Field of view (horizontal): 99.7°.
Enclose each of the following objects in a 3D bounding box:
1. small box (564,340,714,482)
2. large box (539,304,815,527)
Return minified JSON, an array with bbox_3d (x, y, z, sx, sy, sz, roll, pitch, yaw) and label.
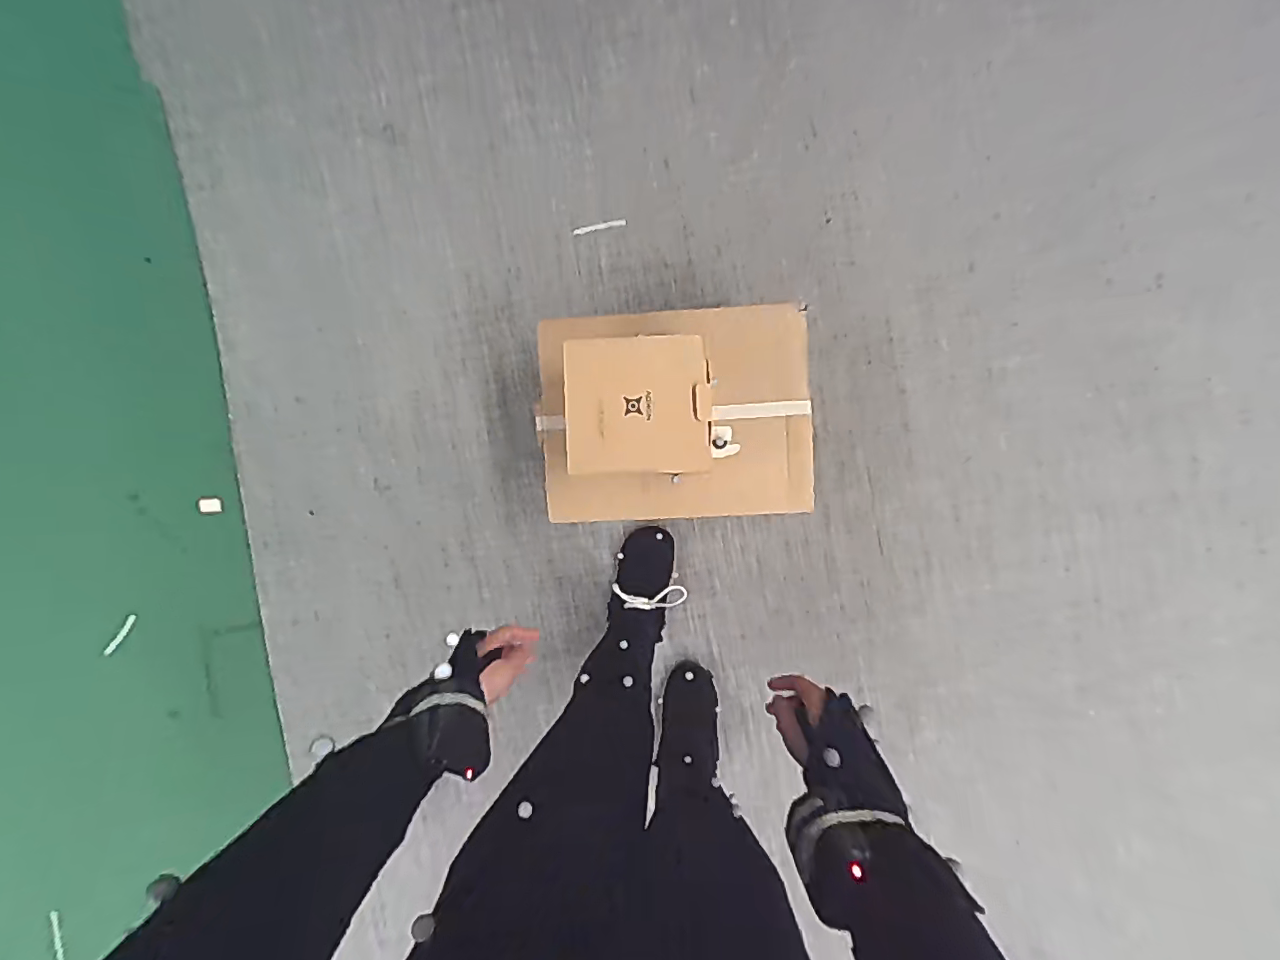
[{"bbox_3d":[0.003,-0.084,0.722,0.179,0.176,0.168,-2,90,5],"label":"small box"},{"bbox_3d":[0.060,-0.099,0.961,0.408,0.320,0.320,-3,92,3],"label":"large box"}]
